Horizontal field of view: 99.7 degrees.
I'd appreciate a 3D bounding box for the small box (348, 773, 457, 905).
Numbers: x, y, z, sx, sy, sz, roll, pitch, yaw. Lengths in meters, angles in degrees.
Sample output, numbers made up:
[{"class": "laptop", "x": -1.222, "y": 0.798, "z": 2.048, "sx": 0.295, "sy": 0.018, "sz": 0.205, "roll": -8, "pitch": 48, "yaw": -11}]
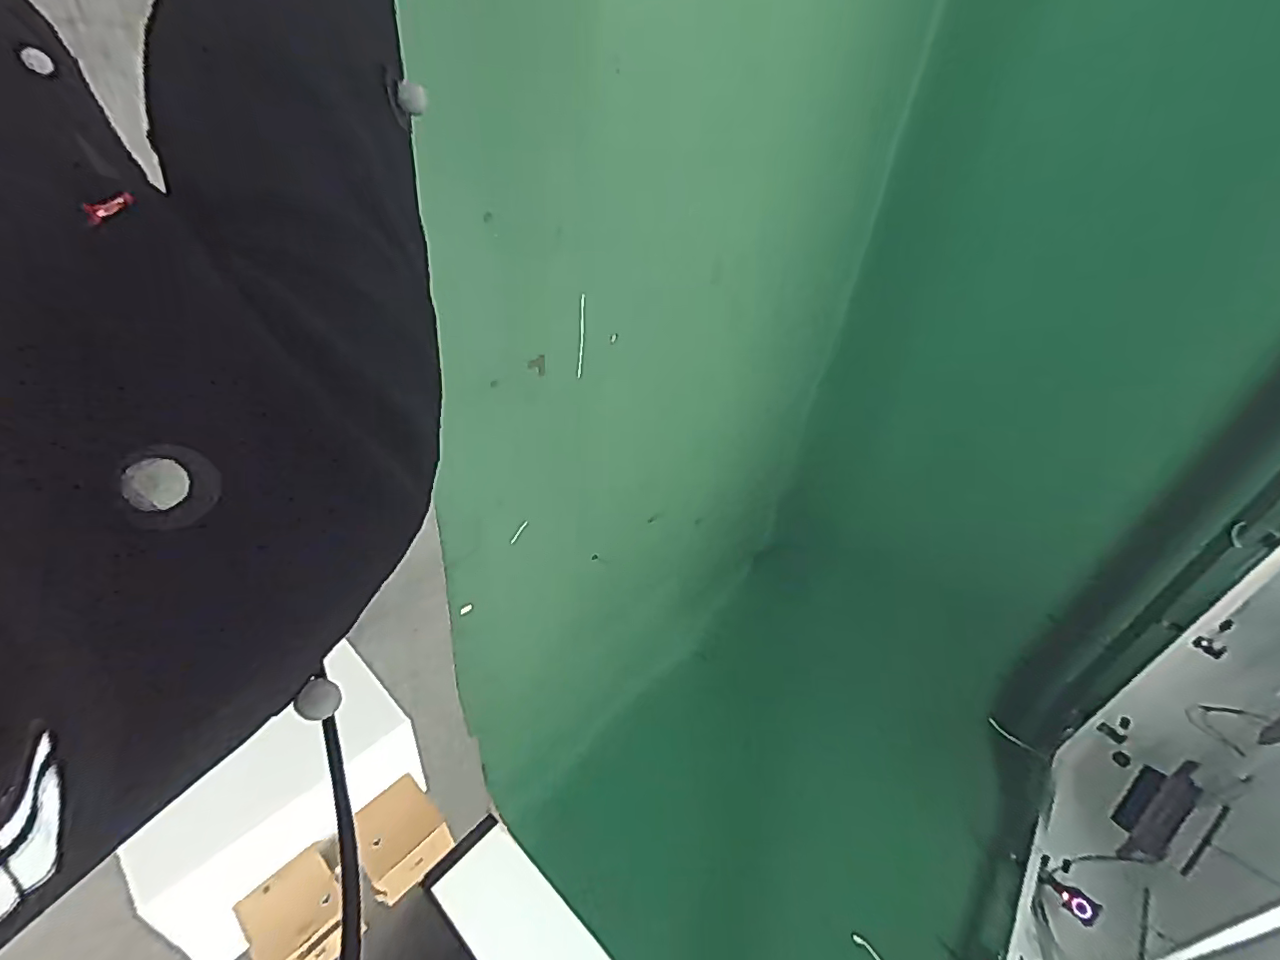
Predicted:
[{"class": "small box", "x": -0.577, "y": 0.863, "z": 1.309, "sx": 0.179, "sy": 0.176, "sz": 0.168, "roll": -34, "pitch": 143, "yaw": -37}]
